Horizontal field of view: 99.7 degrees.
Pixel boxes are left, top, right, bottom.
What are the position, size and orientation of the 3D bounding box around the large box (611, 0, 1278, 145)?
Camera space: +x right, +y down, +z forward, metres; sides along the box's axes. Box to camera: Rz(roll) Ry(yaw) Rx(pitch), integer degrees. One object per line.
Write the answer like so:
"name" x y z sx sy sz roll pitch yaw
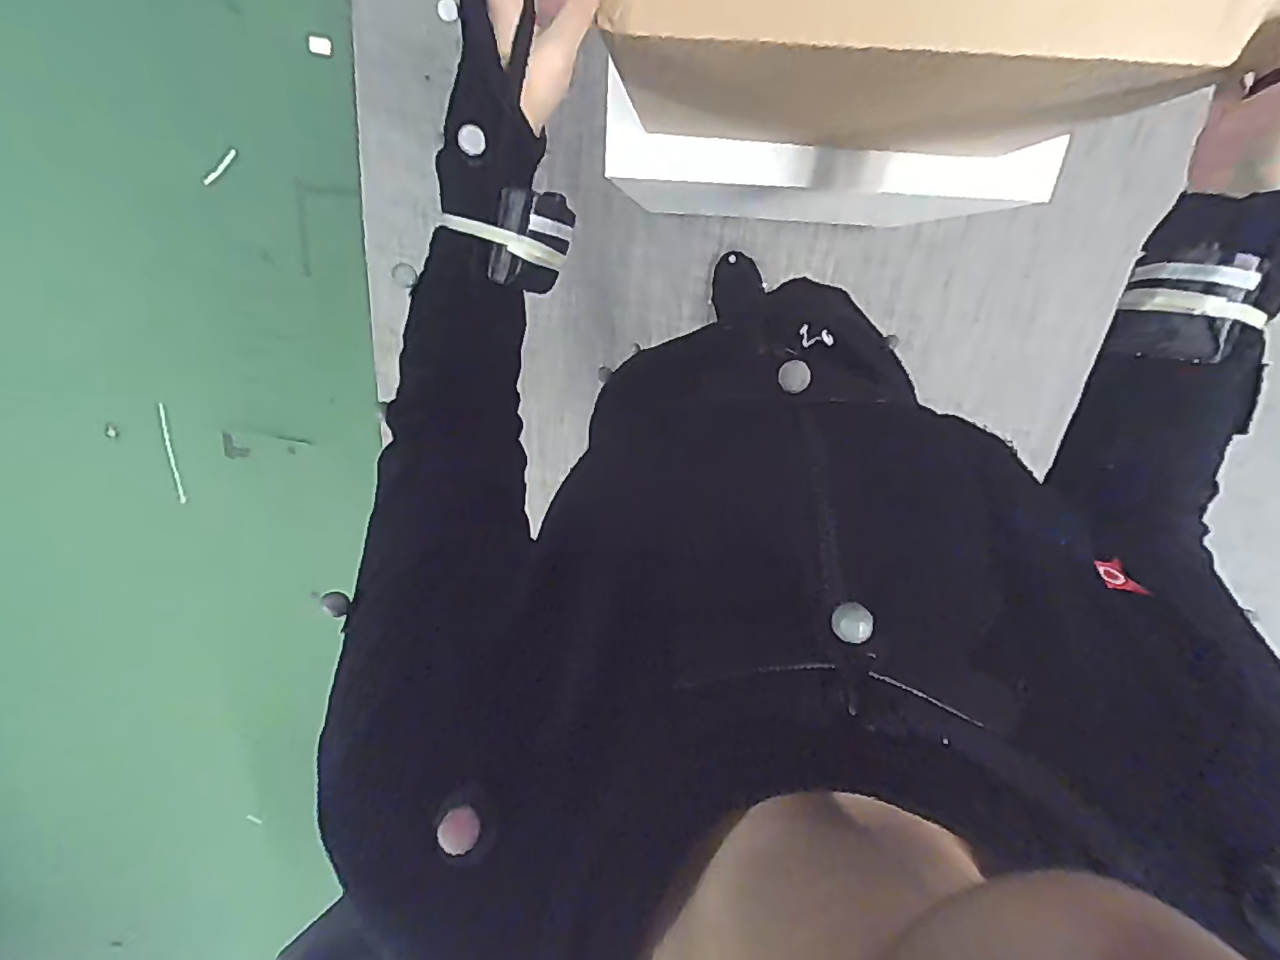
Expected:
"large box" 0.196 -0.472 0.417 0.408 0.320 0.320 5 113 3
